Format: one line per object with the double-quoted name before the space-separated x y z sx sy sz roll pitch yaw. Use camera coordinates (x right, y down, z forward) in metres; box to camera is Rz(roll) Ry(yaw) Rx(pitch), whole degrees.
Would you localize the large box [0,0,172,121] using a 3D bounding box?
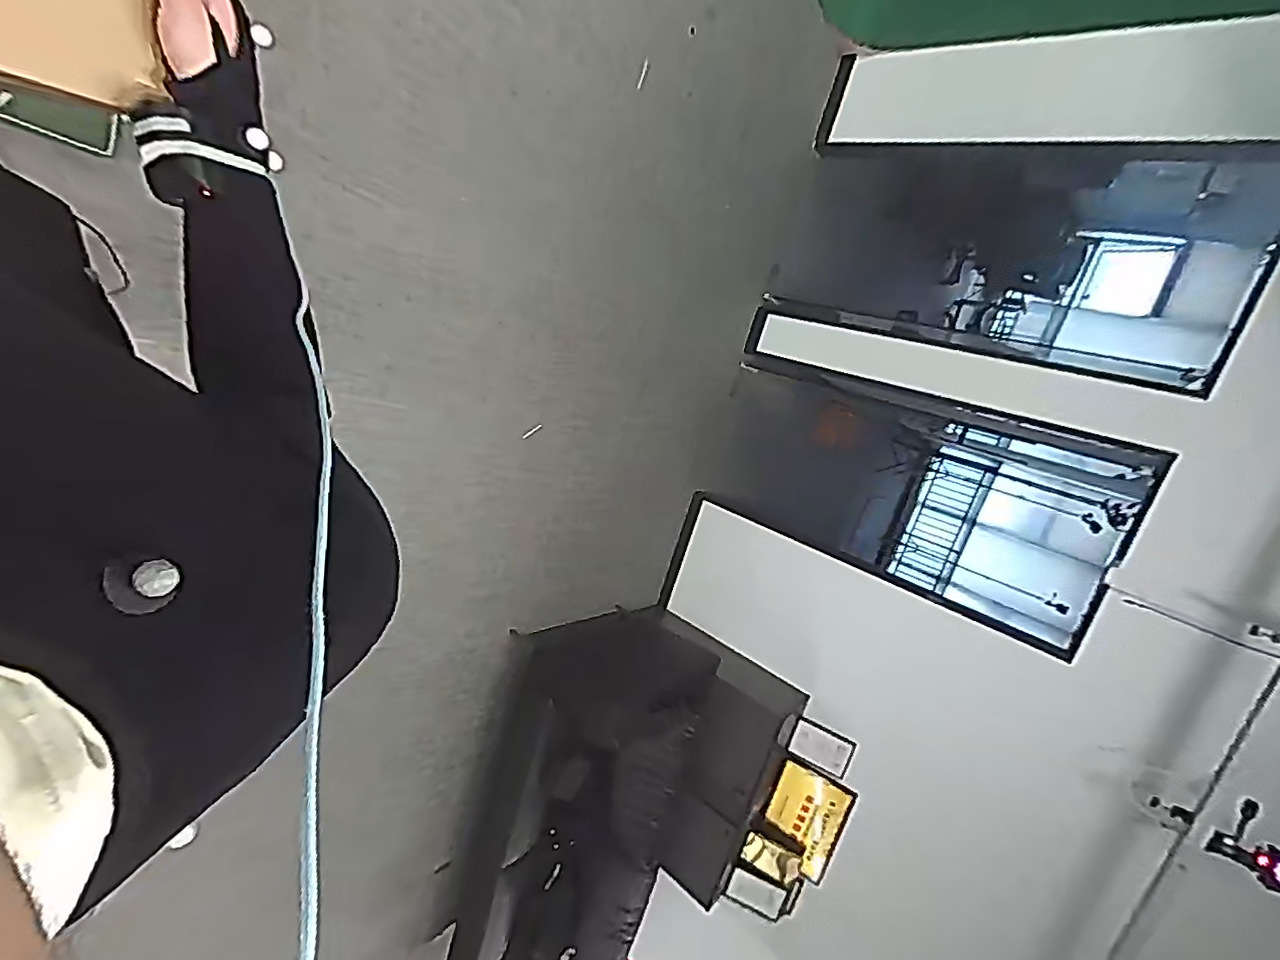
"large box" -0.597 -0.464 0.324 0.408 0.320 0.320 -14 124 -53
